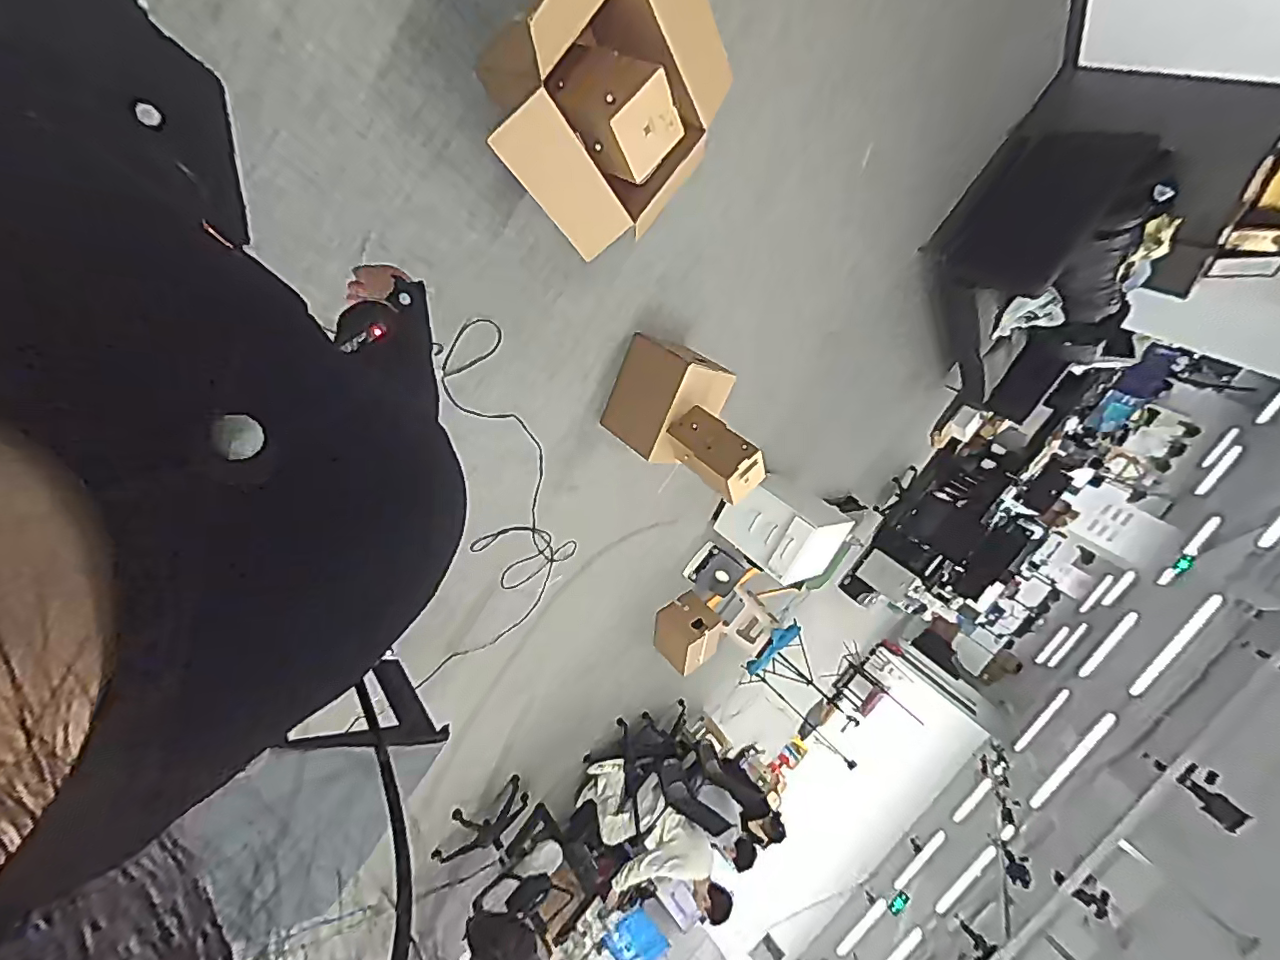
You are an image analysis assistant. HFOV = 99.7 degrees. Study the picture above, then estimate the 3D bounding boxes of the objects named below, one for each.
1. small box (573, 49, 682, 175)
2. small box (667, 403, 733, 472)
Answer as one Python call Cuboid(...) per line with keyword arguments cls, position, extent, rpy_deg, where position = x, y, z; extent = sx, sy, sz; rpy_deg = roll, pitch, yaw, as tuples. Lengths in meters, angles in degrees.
Cuboid(cls="small box", position=(-0.035, -0.873, 1.284), extent=(0.179, 0.176, 0.168), rpy_deg=(-49, 150, -2))
Cuboid(cls="small box", position=(0.223, -0.169, 2.042), extent=(0.168, 0.176, 0.179), rpy_deg=(-42, 143, -11))
